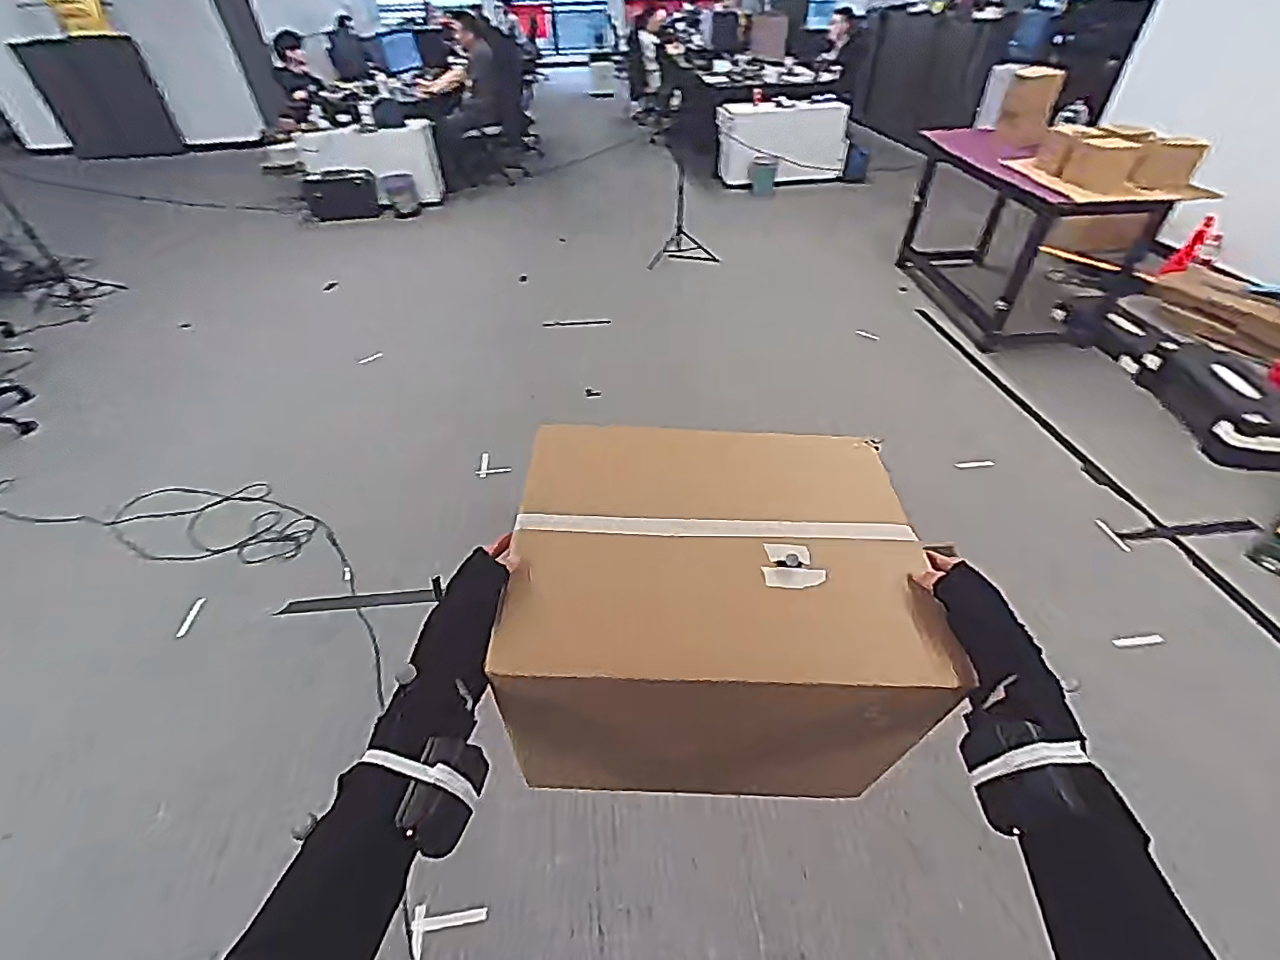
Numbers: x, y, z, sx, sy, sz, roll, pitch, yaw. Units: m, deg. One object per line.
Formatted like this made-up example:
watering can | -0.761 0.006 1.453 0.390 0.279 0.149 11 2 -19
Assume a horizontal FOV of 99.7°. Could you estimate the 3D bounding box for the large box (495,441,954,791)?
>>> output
large box | 0.066 0.168 0.666 0.408 0.320 0.320 2 45 -1
